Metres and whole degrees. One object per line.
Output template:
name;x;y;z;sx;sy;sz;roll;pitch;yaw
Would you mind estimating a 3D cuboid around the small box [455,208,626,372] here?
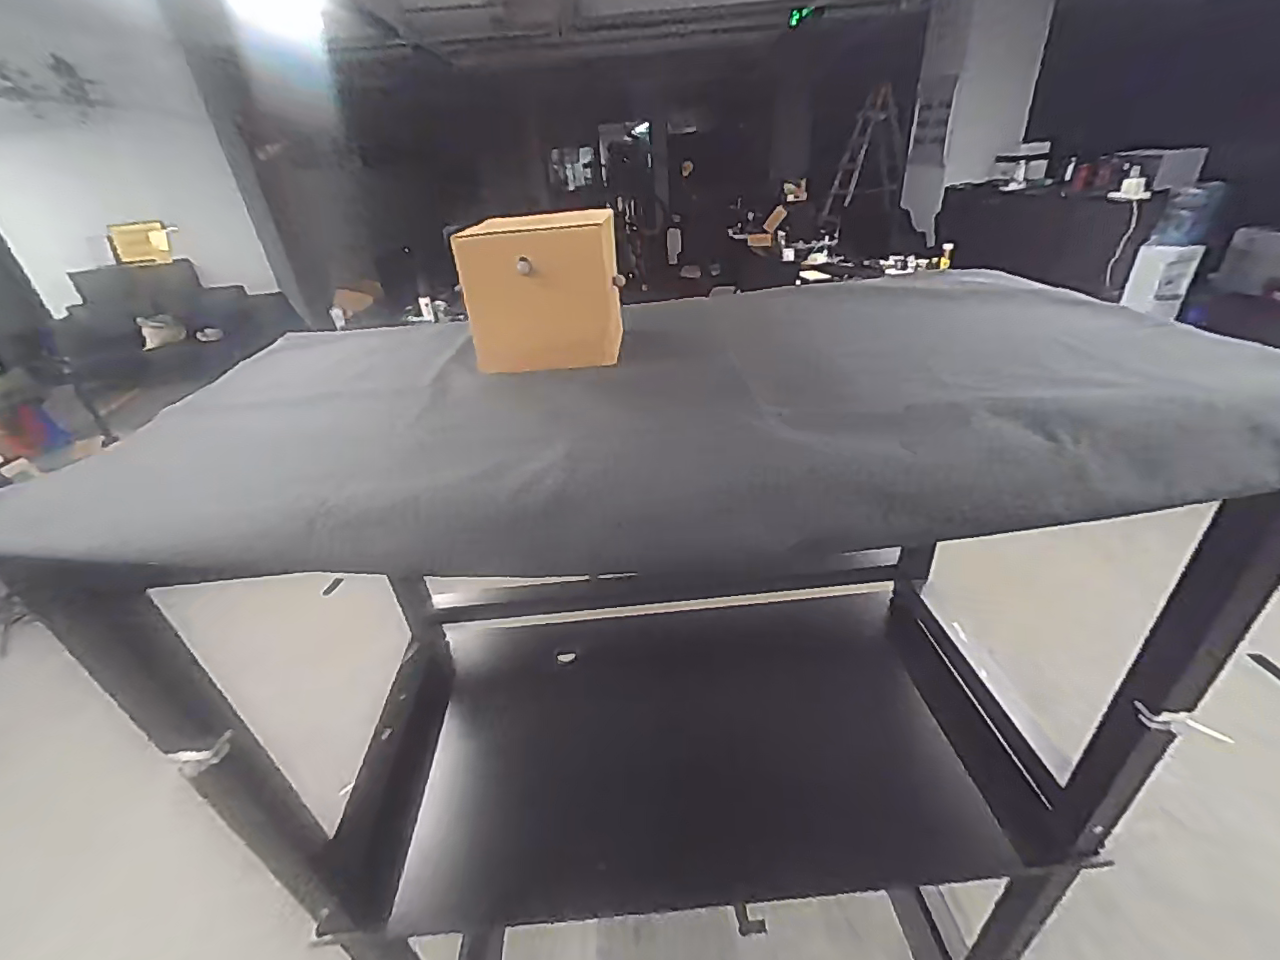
small box;-0.114;-0.250;0.711;0.179;0.176;0.168;-3;31;4
